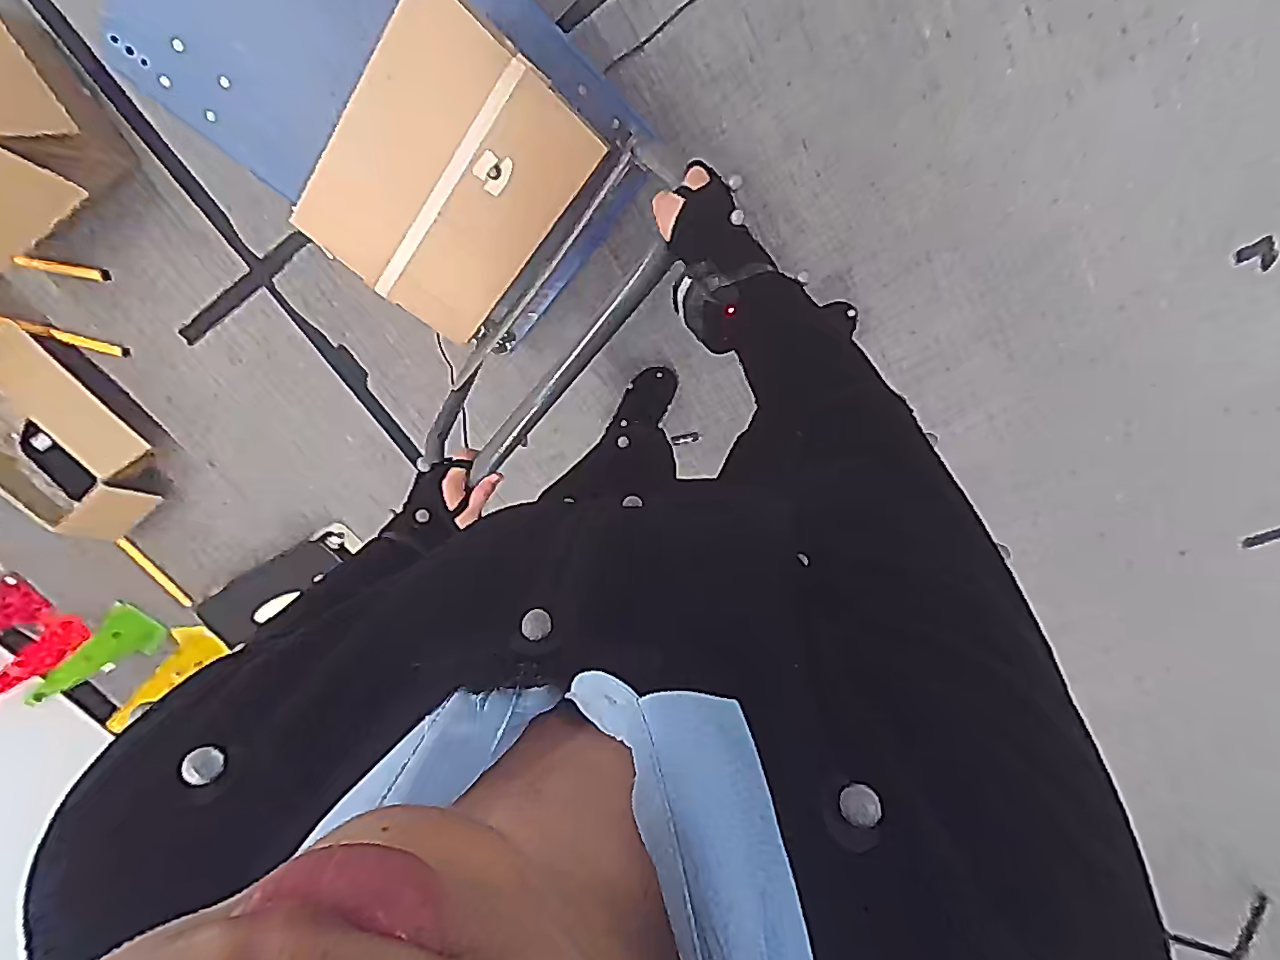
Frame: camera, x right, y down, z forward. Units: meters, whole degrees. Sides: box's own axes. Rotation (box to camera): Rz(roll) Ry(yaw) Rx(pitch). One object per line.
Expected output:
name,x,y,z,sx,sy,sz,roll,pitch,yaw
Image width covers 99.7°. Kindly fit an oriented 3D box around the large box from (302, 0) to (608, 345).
large box,-0.296,-0.523,0.953,0.320,0.320,0.408,36,113,-22
